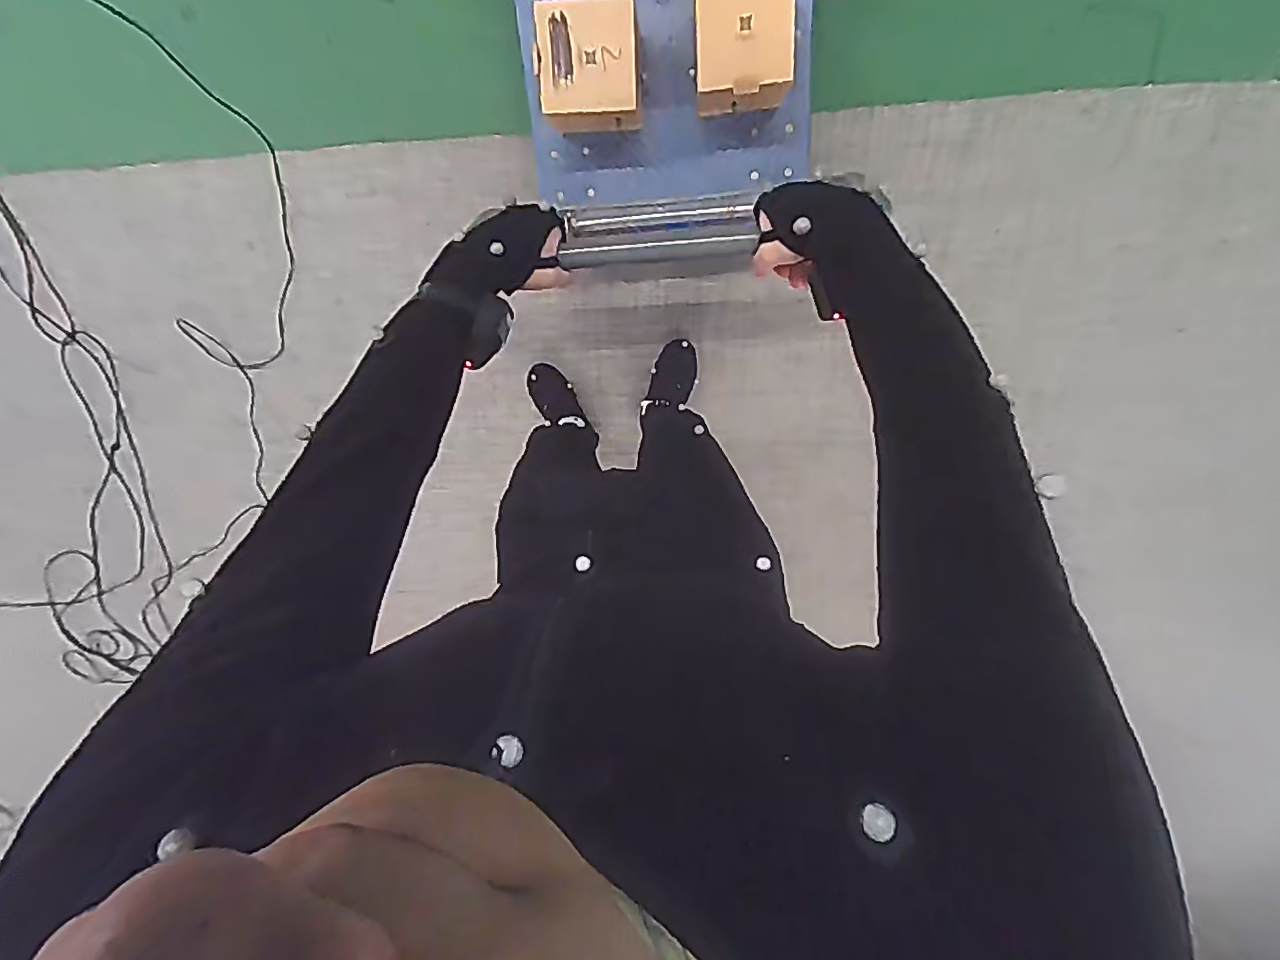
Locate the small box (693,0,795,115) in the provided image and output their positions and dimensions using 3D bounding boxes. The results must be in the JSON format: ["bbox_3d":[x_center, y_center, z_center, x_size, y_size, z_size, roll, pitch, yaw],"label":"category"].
[{"bbox_3d":[0.183,-0.794,0.987,0.168,0.176,0.179,-3,114,6],"label":"small box"}]
